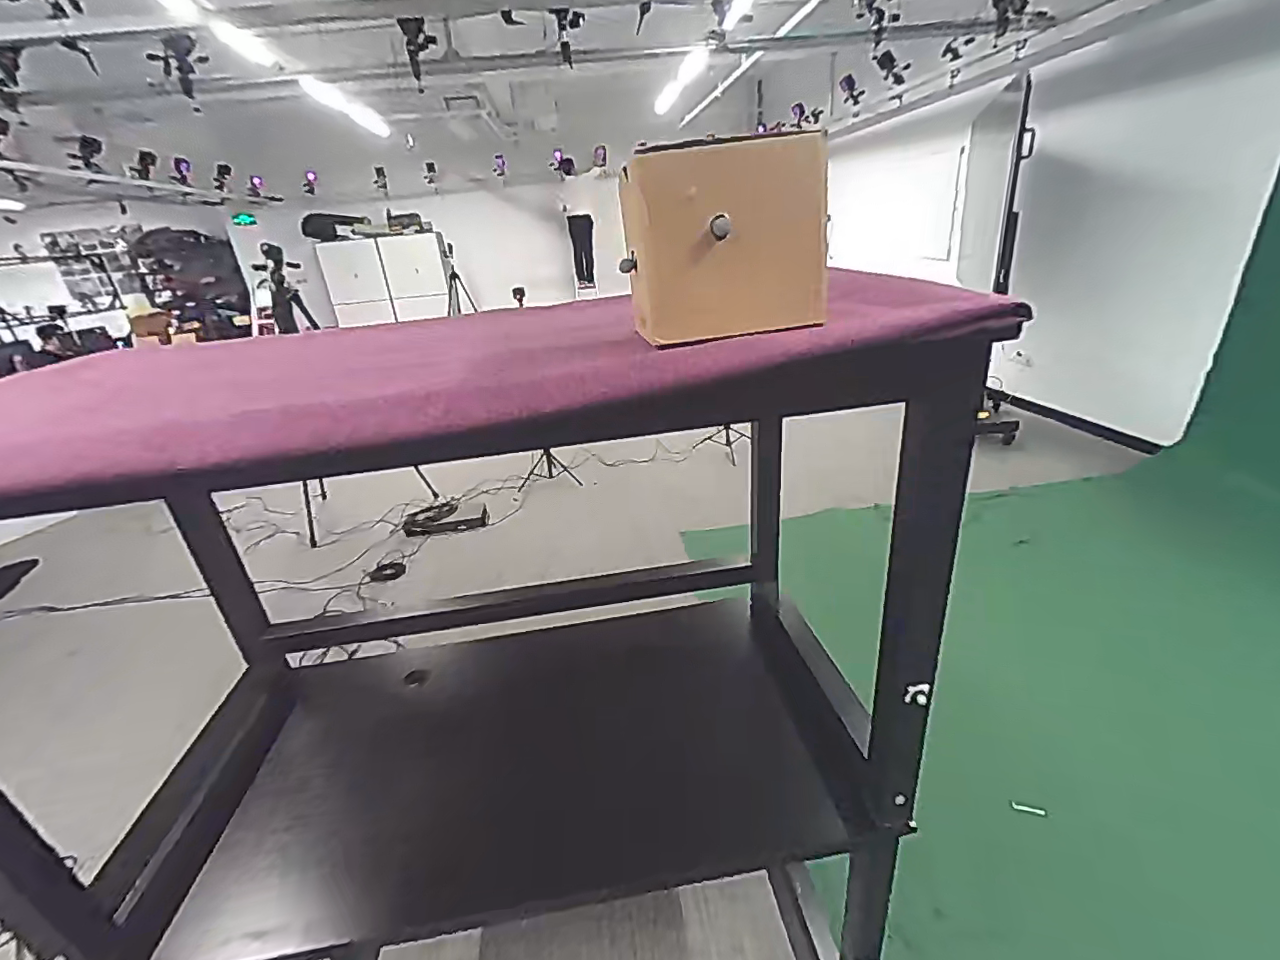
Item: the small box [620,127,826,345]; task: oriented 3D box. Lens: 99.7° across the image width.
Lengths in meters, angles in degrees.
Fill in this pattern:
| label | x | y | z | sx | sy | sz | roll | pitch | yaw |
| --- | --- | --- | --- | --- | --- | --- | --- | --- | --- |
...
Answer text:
| label | x | y | z | sx | sy | sz | roll | pitch | yaw |
| --- | --- | --- | --- | --- | --- | --- | --- | --- | --- |
| small box | 0.082 | -0.243 | 0.567 | 0.179 | 0.176 | 0.168 | -9 | 22 | -3 |
